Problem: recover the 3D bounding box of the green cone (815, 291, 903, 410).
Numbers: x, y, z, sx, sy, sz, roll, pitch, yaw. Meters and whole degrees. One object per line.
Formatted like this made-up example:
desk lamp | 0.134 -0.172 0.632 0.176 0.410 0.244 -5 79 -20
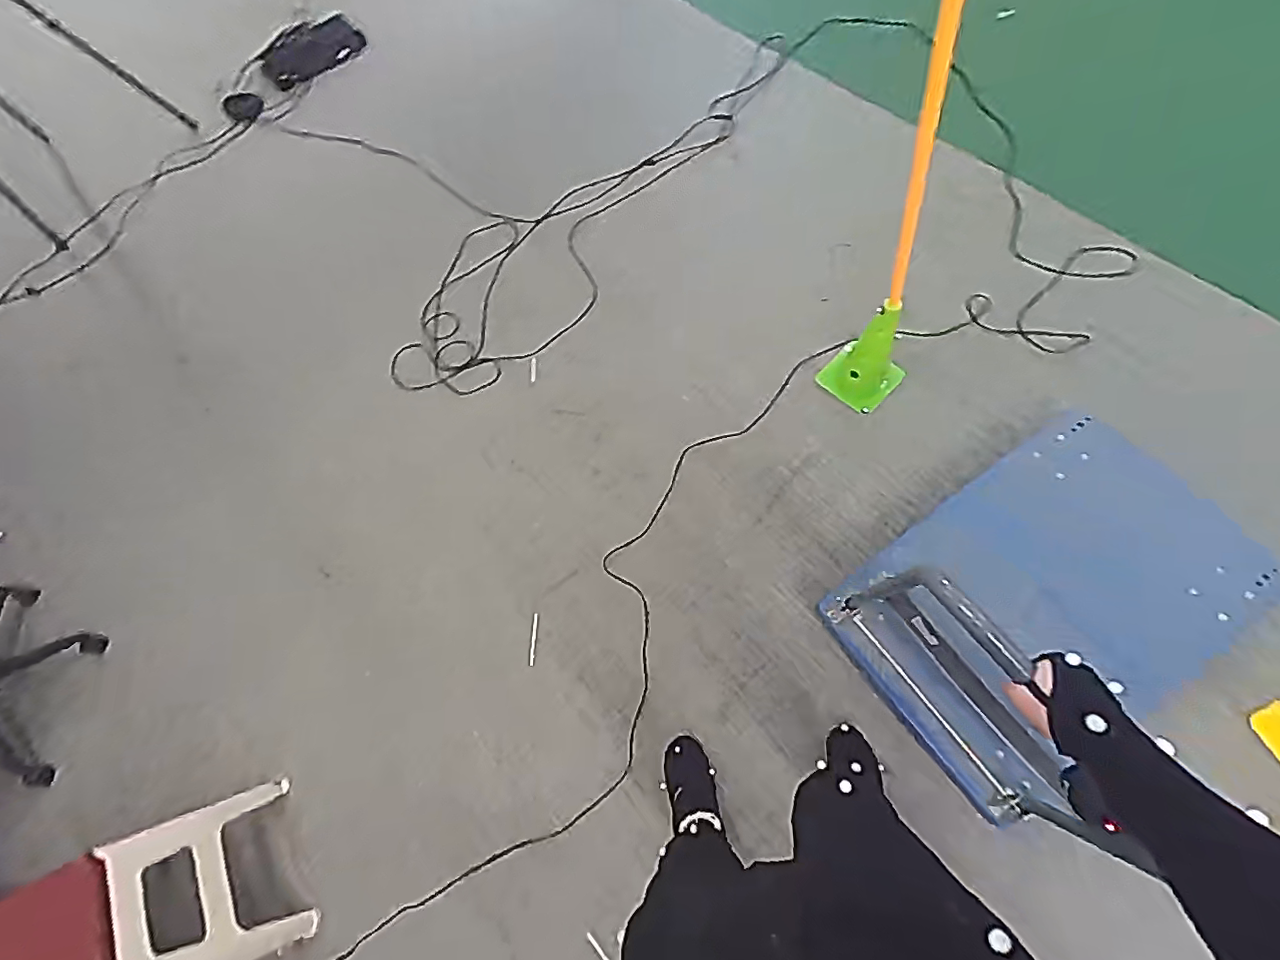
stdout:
green cone | 0.647 -0.390 1.505 0.202 0.368 0.200 41 80 21
